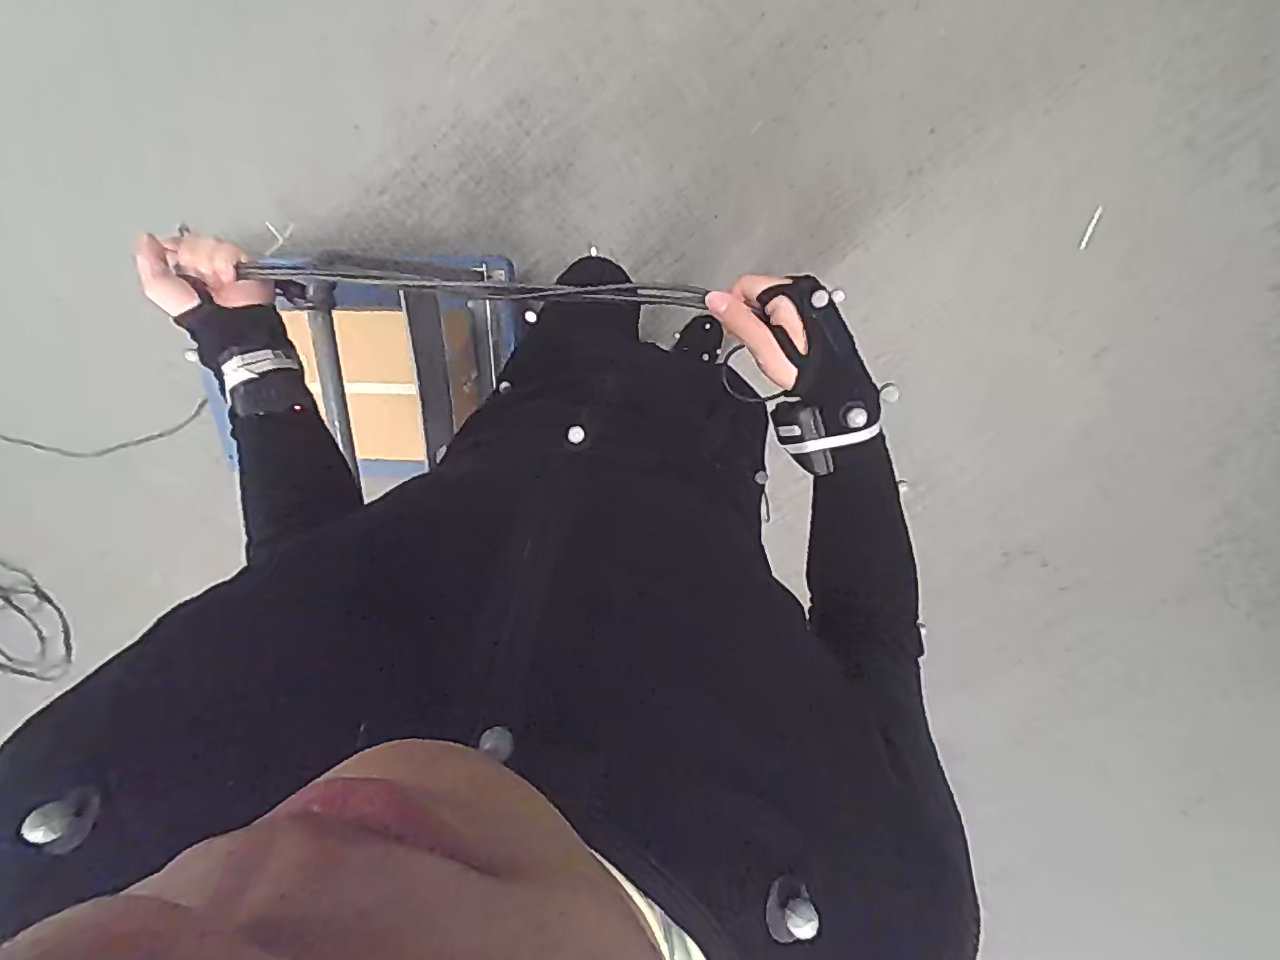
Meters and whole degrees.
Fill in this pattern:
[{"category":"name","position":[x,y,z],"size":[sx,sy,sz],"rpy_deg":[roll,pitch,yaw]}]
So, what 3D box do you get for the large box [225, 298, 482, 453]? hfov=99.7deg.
[{"category":"large box","position":[-0.629,-0.258,1.263],"size":[0.408,0.320,0.320],"rpy_deg":[2,109,5]}]
